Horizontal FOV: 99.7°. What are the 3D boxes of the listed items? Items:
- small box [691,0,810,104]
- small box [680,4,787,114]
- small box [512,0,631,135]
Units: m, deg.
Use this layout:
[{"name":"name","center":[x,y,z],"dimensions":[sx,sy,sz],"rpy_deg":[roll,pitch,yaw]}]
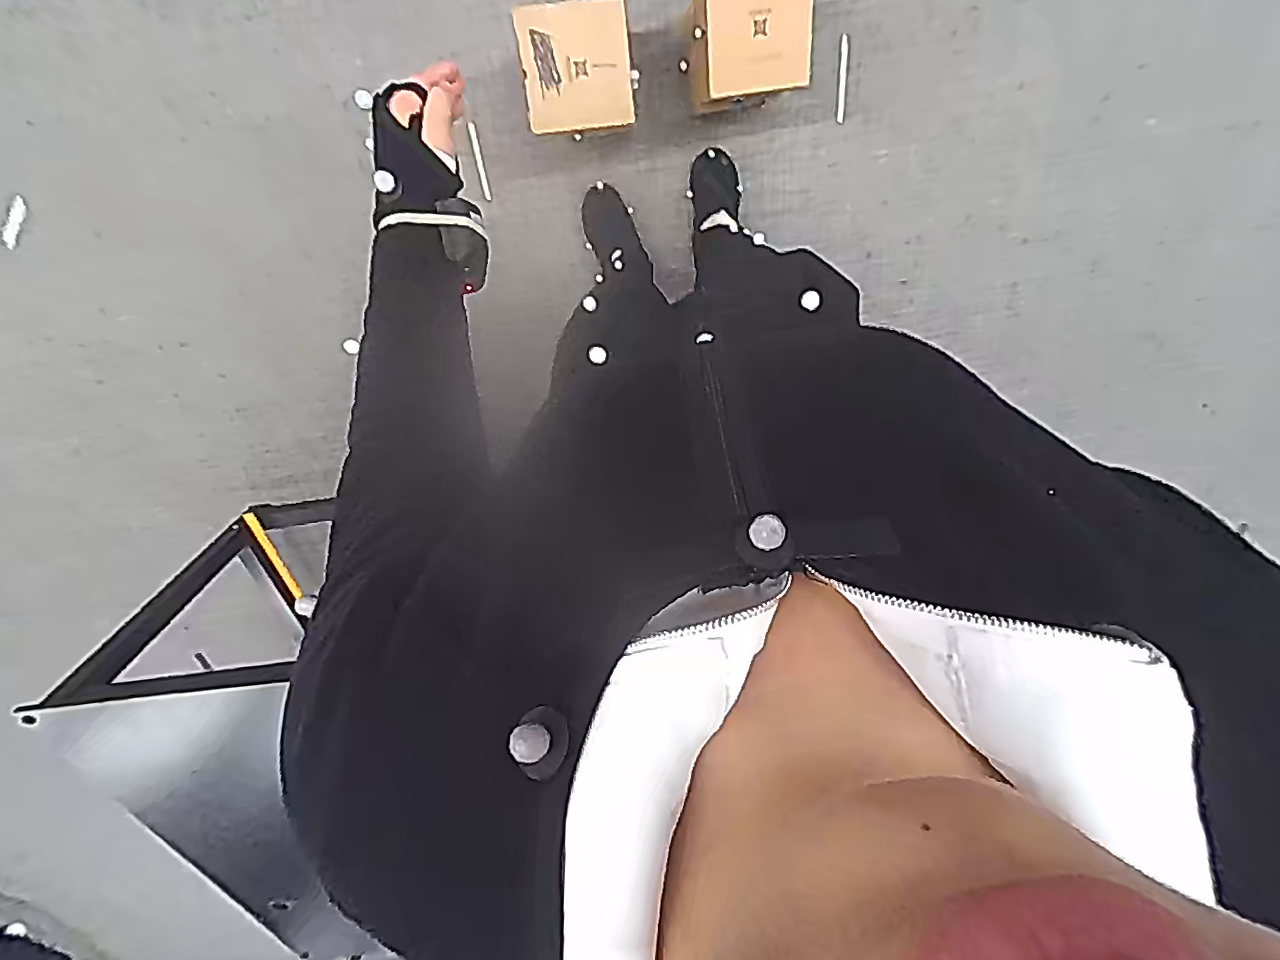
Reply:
[{"name":"small box","center":[0.180,-0.756,0.915],"dimensions":[0.168,0.176,0.179],"rpy_deg":[-6,123,2]},{"name":"small box","center":[0.180,-0.831,1.060],"dimensions":[0.179,0.176,0.168],"rpy_deg":[-8,121,3]},{"name":"small box","center":[-0.108,-0.701,0.933],"dimensions":[0.179,0.176,0.168],"rpy_deg":[-5,121,0]}]
